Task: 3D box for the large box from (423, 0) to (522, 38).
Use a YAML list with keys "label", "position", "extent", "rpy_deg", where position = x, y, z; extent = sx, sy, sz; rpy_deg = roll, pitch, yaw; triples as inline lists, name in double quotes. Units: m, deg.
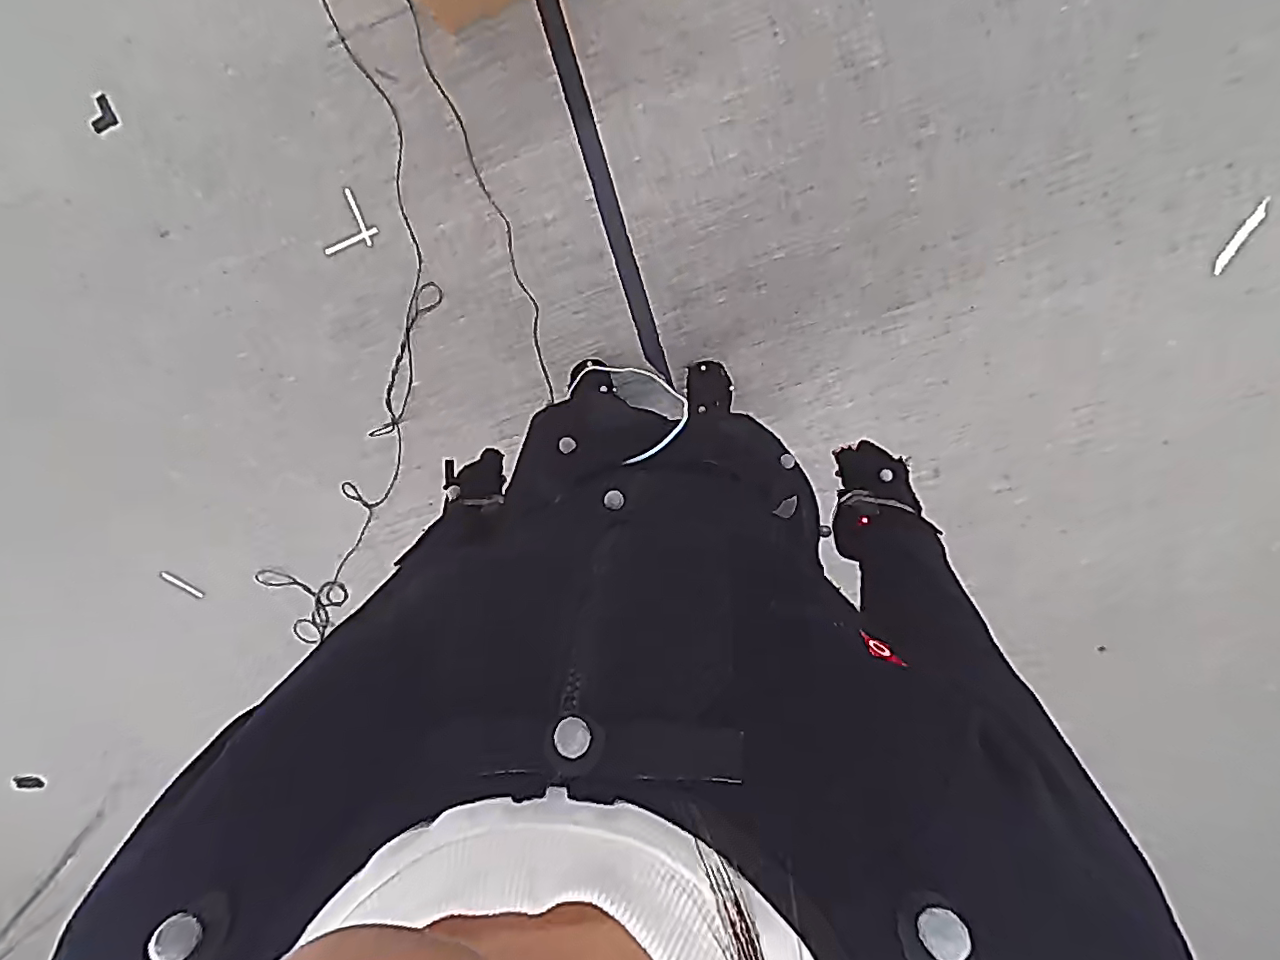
- label: "large box"
  position: [-0.314, -1.165, 1.021]
  extent: [0.408, 0.320, 0.320]
  rpy_deg: [-21, 104, 9]
